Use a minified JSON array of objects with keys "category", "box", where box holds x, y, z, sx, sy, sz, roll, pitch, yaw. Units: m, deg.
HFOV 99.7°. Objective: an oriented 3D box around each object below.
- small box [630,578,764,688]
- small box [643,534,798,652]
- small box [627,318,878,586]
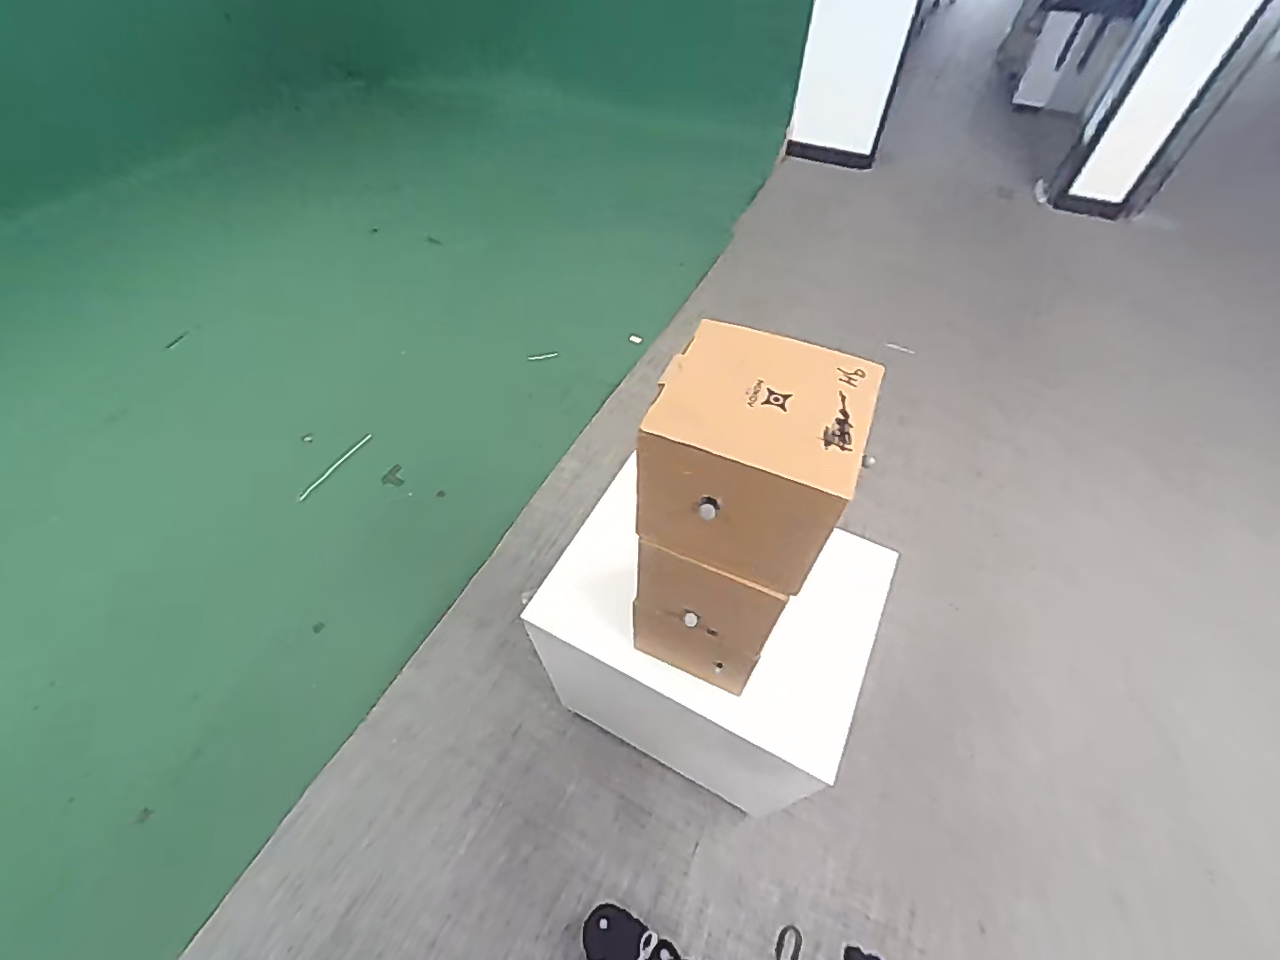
[{"category":"small box","box":[0.100,0.177,0.779,0.179,0.176,0.168,19,55,16]},{"category":"small box","box":[0.106,0.074,0.651,0.168,0.176,0.179,19,54,14]},{"category":"small box","box":[0.101,-0.023,0.519,0.179,0.176,0.168,19,56,15]}]
